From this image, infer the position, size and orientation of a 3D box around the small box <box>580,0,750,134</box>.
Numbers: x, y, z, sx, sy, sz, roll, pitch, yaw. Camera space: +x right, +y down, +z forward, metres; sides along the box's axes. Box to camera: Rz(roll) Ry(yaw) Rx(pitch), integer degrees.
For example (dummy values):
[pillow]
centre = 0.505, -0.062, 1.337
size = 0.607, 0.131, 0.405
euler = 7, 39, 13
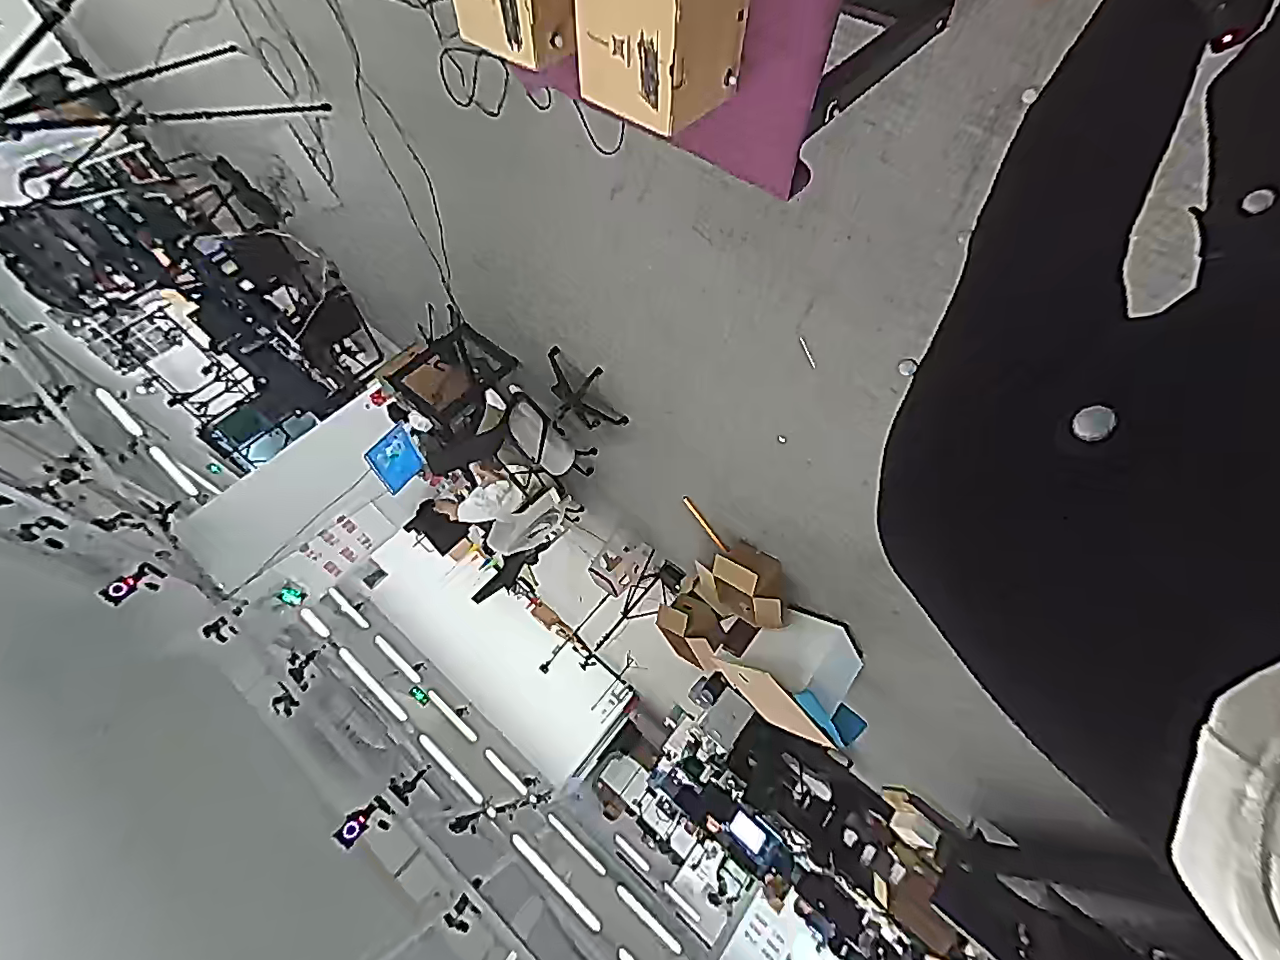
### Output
[small box]
centre = 0.037, -0.632, 0.755
size = 0.179, 0.176, 0.168
euler = 37, 155, 19
